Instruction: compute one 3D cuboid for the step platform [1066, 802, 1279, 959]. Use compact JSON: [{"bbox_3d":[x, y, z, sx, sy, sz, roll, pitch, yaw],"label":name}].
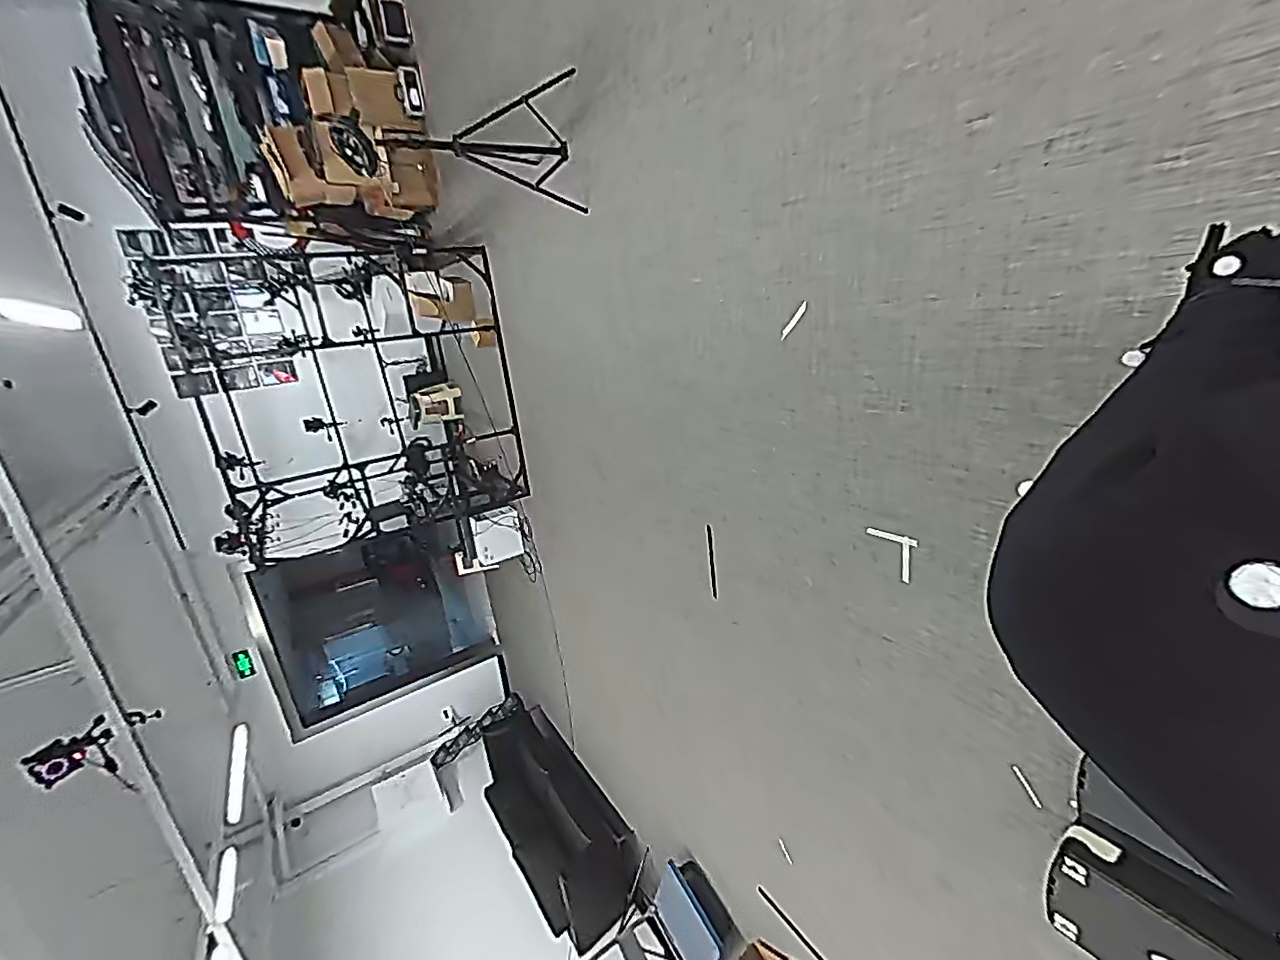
[{"bbox_3d":[1.329,1.041,1.137,0.684,0.204,0.286,20,121,56],"label":"step platform"}]
